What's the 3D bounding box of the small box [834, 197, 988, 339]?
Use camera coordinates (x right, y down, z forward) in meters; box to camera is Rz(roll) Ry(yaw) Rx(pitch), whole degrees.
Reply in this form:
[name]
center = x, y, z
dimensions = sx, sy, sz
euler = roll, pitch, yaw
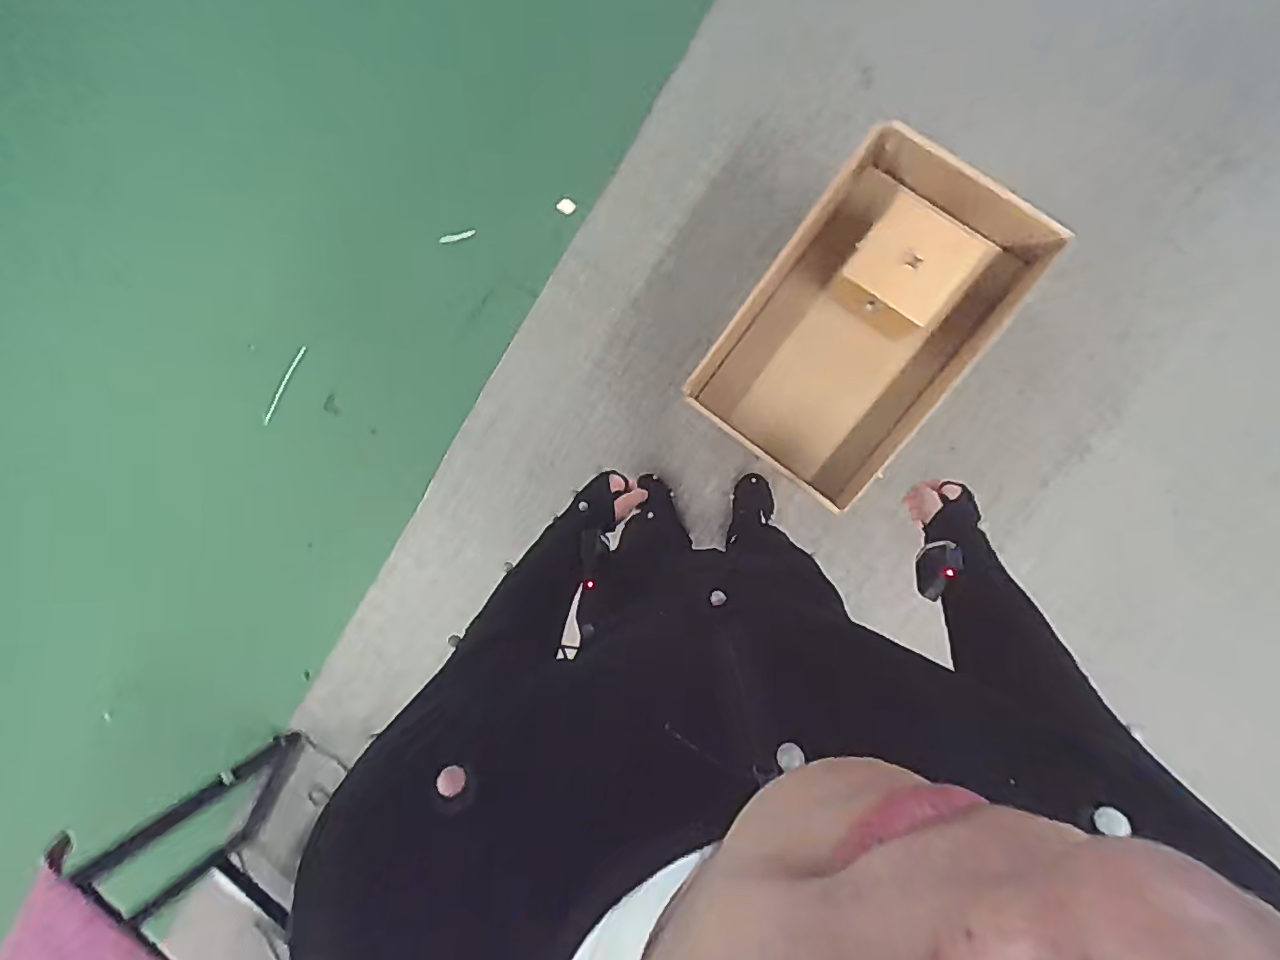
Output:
[small box]
center = 0.495, -0.383, 1.017
dimensions = 0.179, 0.176, 0.168
euler = 38, 101, 7
